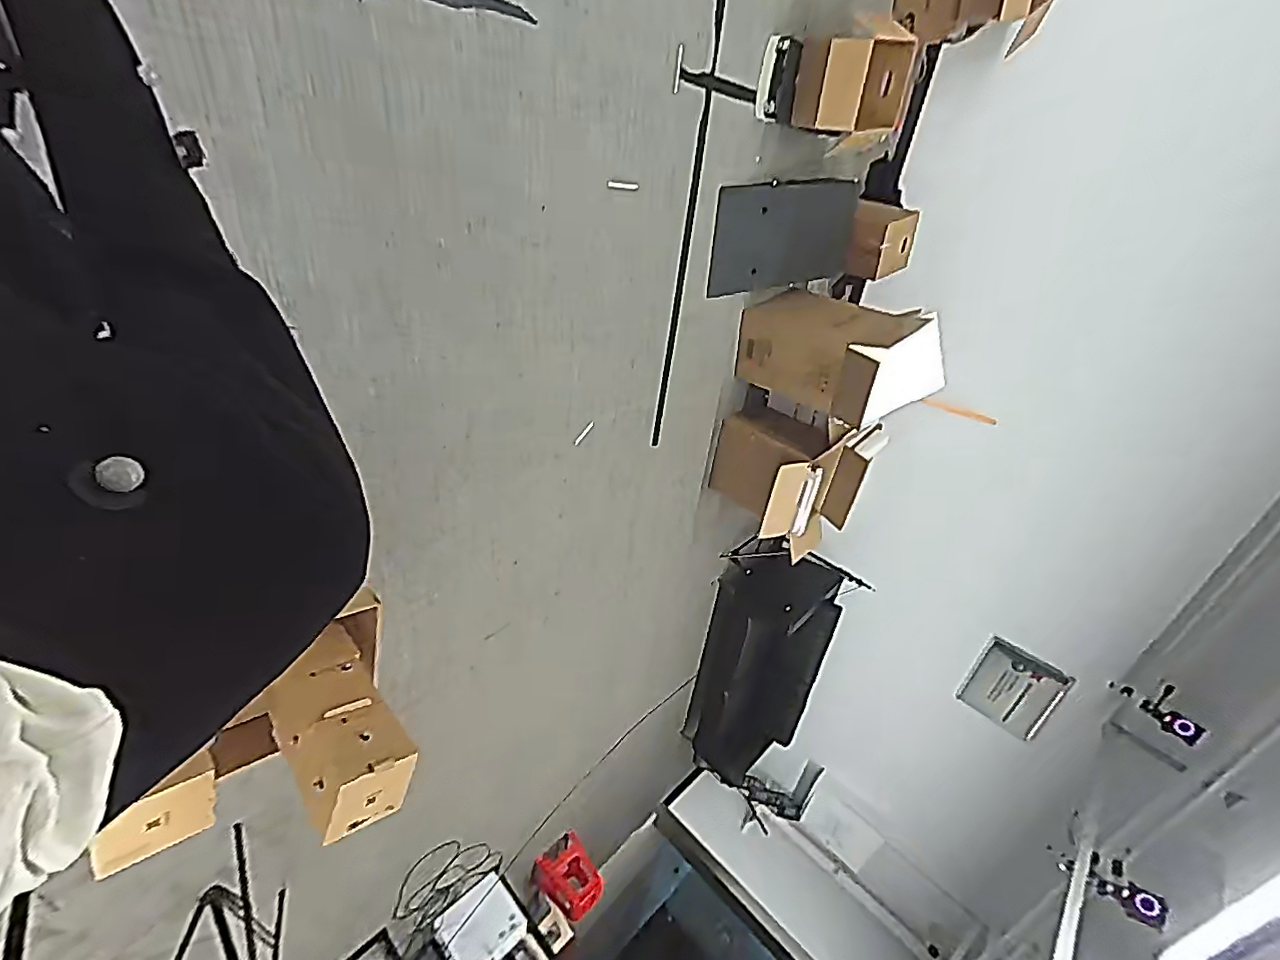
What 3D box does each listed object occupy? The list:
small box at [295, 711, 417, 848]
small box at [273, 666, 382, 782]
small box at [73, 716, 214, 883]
[{"bbox_3d":[-0.617,0.630,1.169,0.168,0.176,0.179,2,115,-52],"label":"small box"},{"bbox_3d":[-0.733,0.561,1.263,0.168,0.176,0.179,-4,120,-51],"label":"small box"},{"bbox_3d":[-0.941,0.593,1.026,0.179,0.176,0.168,-11,126,-49],"label":"small box"}]
